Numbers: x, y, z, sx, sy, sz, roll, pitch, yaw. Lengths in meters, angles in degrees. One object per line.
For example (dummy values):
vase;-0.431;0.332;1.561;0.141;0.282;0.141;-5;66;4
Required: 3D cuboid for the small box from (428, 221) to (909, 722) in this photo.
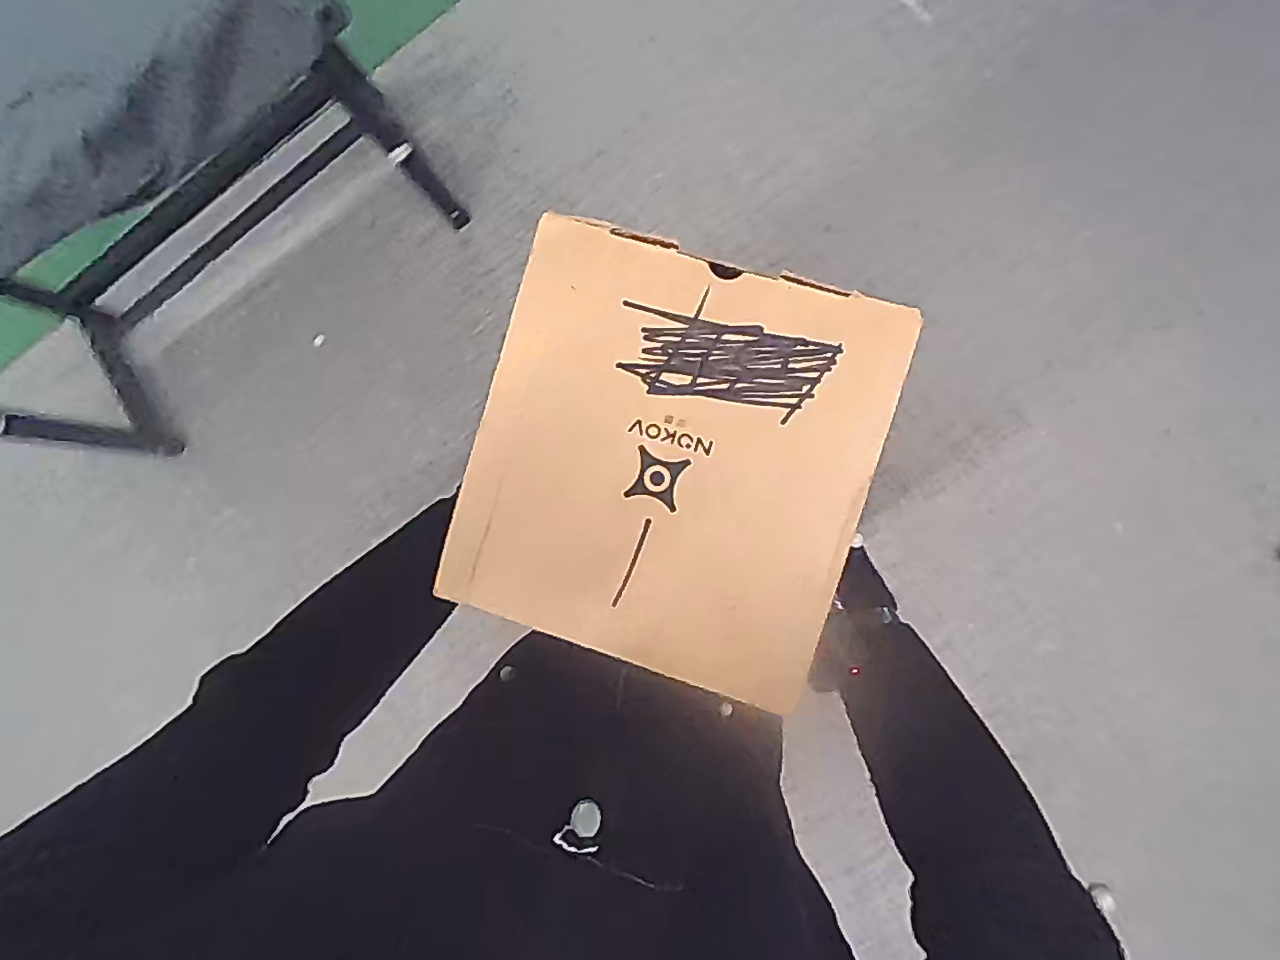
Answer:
small box;0.016;-0.007;0.305;0.168;0.176;0.179;17;93;6
